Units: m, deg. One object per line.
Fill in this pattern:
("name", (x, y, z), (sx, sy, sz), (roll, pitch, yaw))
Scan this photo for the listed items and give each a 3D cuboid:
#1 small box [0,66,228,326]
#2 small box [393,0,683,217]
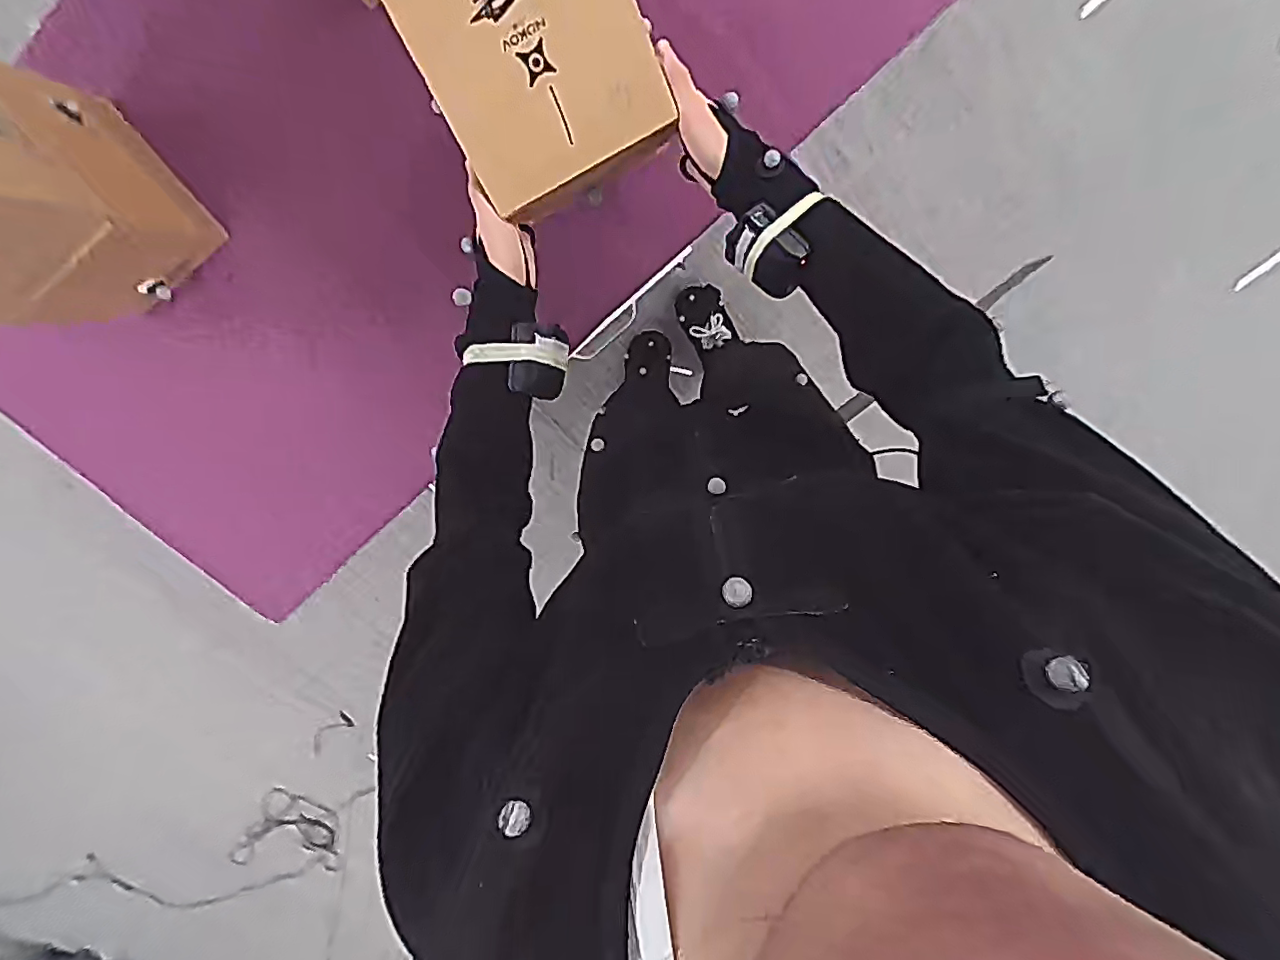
("small box", (-0.604, -0.285, 0.567), (0.168, 0.176, 0.179), (-34, 108, 11))
("small box", (-0.077, -0.350, 0.469), (0.168, 0.176, 0.179), (-24, 113, 10))
